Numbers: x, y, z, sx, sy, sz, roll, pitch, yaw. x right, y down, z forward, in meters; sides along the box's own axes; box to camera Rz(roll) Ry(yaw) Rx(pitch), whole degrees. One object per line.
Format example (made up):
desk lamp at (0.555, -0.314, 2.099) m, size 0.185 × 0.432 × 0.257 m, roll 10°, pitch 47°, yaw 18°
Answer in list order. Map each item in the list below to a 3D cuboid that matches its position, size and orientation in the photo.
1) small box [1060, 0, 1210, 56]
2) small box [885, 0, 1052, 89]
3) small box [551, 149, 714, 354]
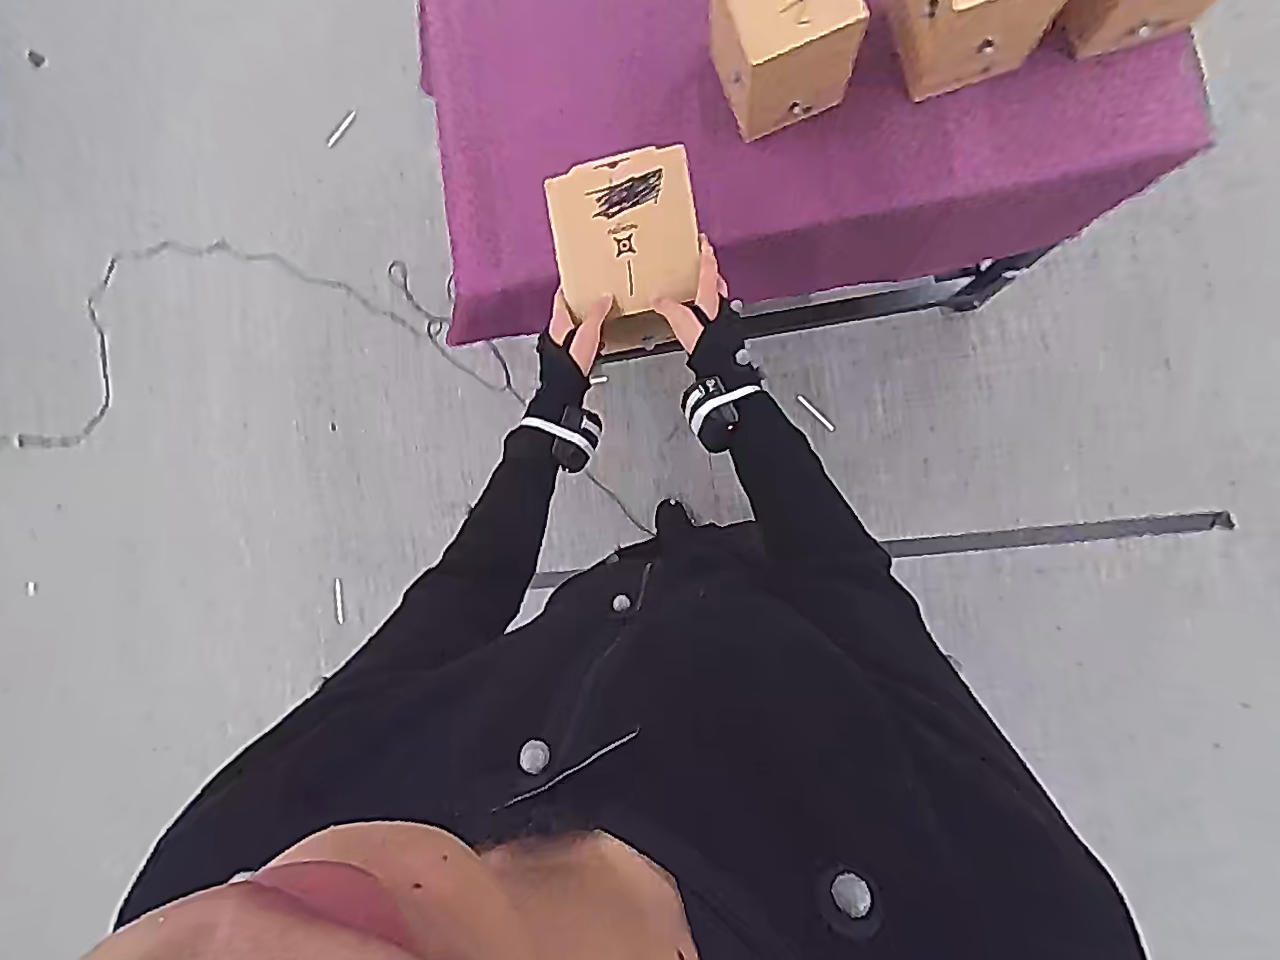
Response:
small box at (0.714, -0.753, 0.749) m, size 0.168 × 0.176 × 0.179 m, roll -13°, pitch 85°, yaw 10°
small box at (0.480, -0.715, 0.784) m, size 0.168 × 0.176 × 0.179 m, roll -14°, pitch 85°, yaw 8°
small box at (0.000, -0.276, 0.694) m, size 0.168 × 0.176 × 0.179 m, roll -9°, pitch 91°, yaw 11°
